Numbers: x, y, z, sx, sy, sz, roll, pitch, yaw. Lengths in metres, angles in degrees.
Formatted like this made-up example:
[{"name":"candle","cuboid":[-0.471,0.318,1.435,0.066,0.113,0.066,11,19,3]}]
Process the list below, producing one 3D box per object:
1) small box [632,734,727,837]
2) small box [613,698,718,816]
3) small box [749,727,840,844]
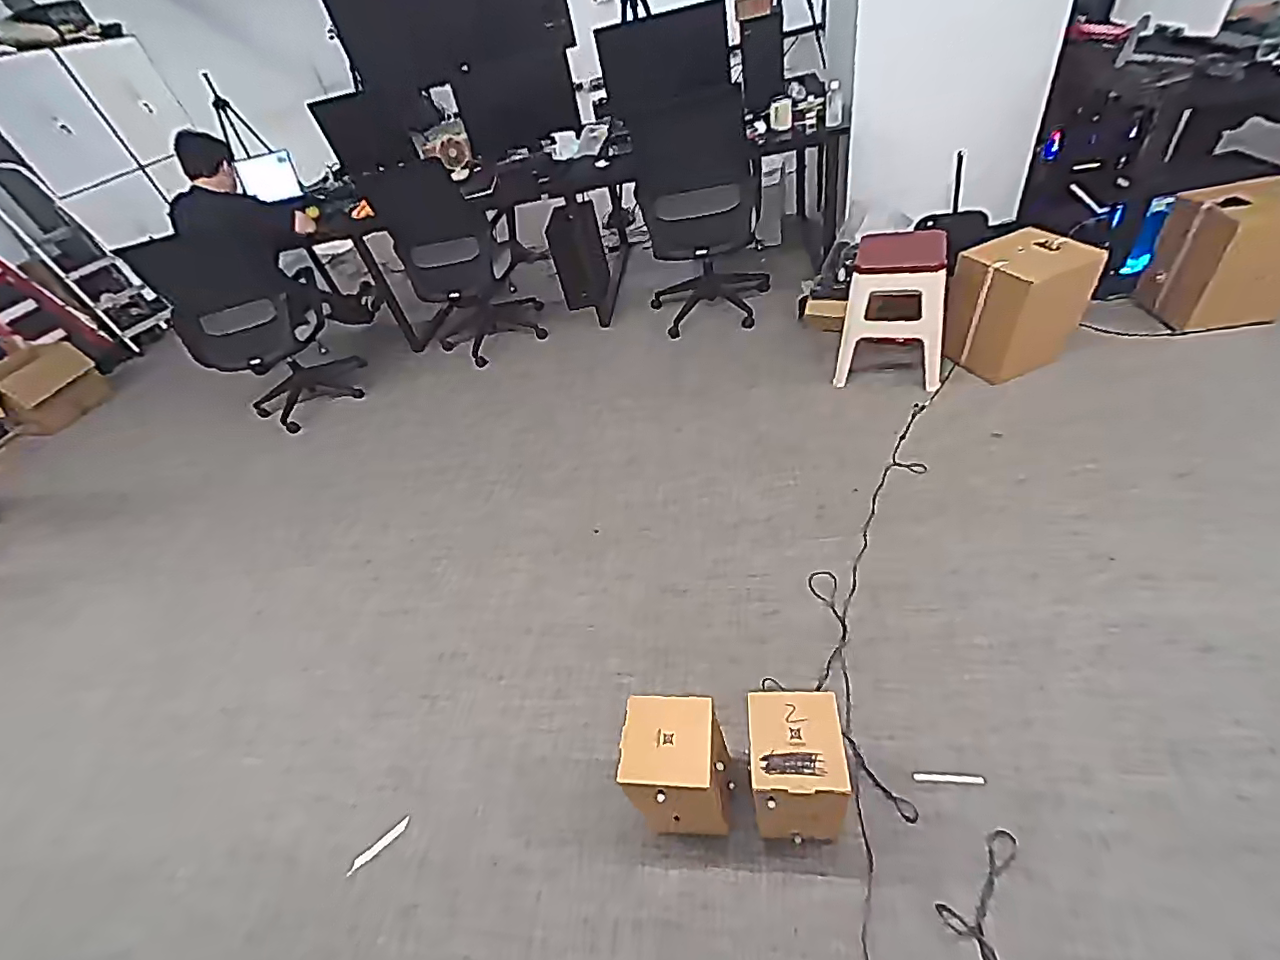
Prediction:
[{"name":"small box","cuboid":[0.093,0.668,1.190,0.179,0.176,0.168,-4,44,13]},{"name":"small box","cuboid":[0.060,0.554,1.081,0.179,0.176,0.168,-5,44,14]},{"name":"small box","cuboid":[0.320,0.646,1.146,0.168,0.176,0.179,-5,44,11]}]
